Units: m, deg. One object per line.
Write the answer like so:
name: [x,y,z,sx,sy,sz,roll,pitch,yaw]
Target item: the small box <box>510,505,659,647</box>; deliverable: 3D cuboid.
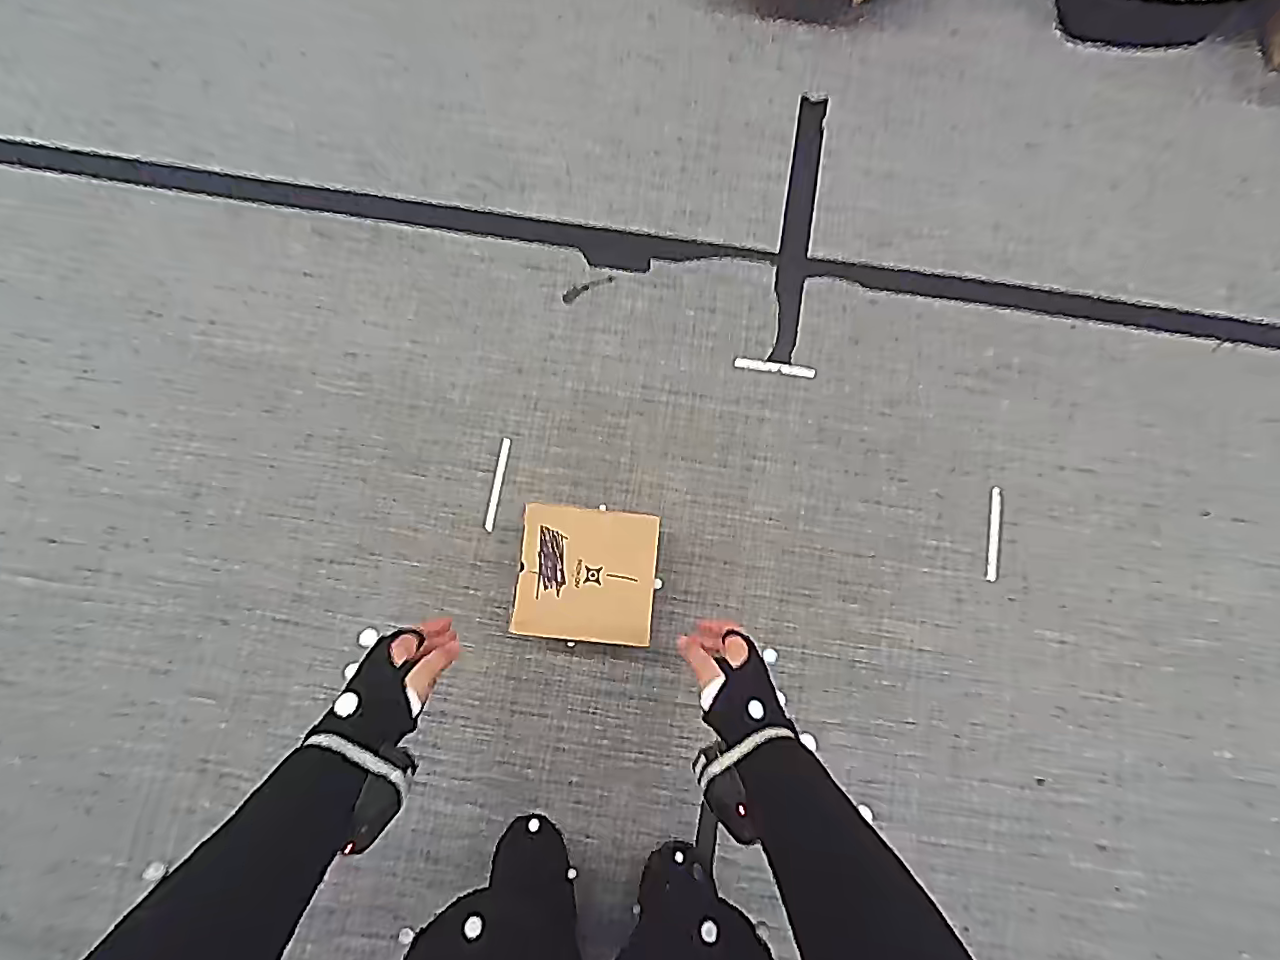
small box: [-0.071,0.135,0.767,0.179,0.176,0.168,6,80,-1]
